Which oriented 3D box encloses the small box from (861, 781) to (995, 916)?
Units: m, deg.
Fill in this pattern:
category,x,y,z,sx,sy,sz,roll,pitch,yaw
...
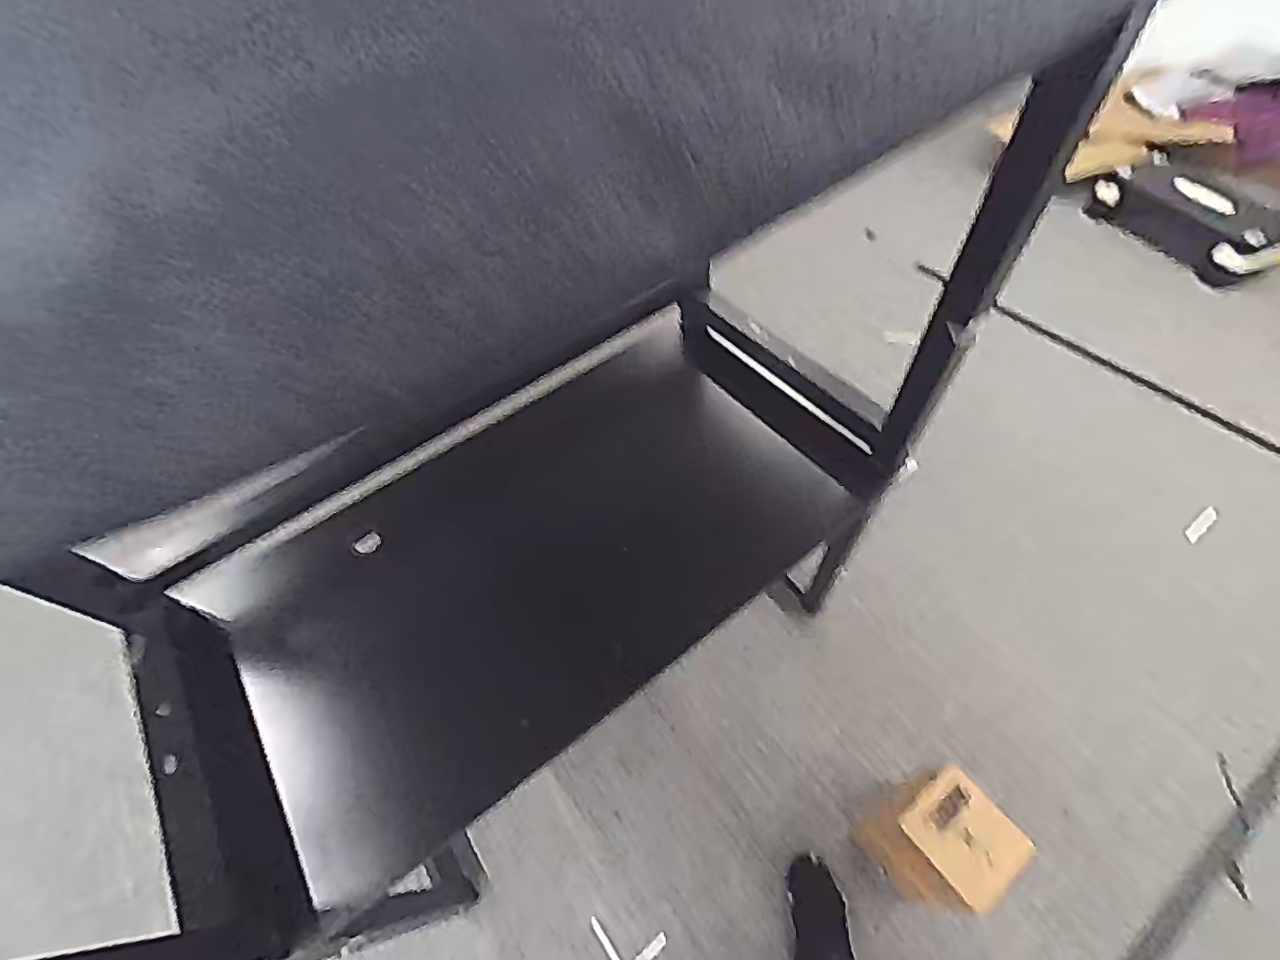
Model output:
category,x,y,z,sx,sy,sz,roll,pitch,yaw
small box,0.611,0.792,1.173,0.179,0.176,0.168,-36,59,-17
